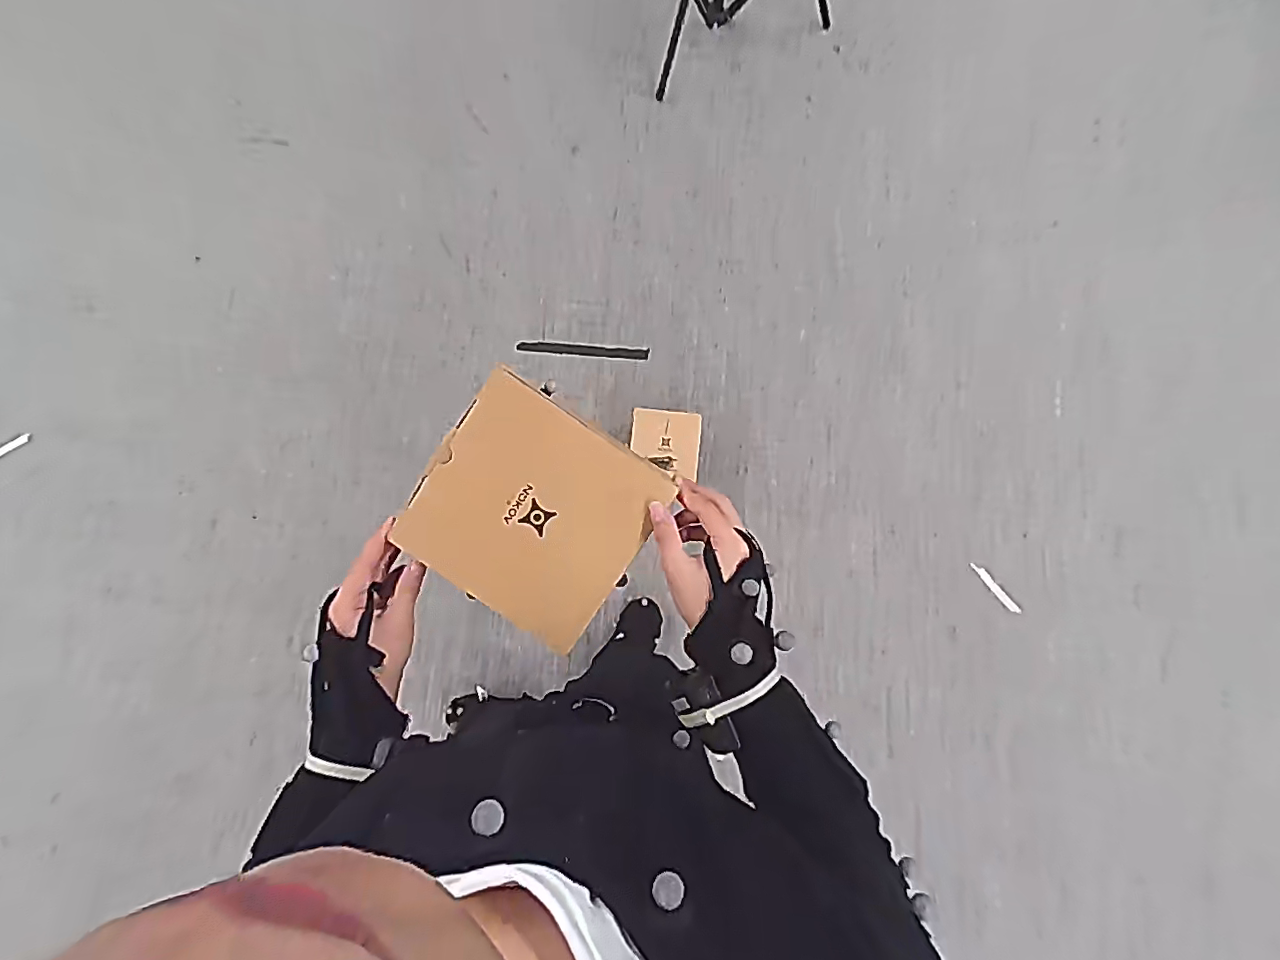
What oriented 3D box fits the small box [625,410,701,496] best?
[{"bbox_3d":[0.054,-0.060,1.354,0.168,0.176,0.179,6,80,-1],"label":"small box"}]
